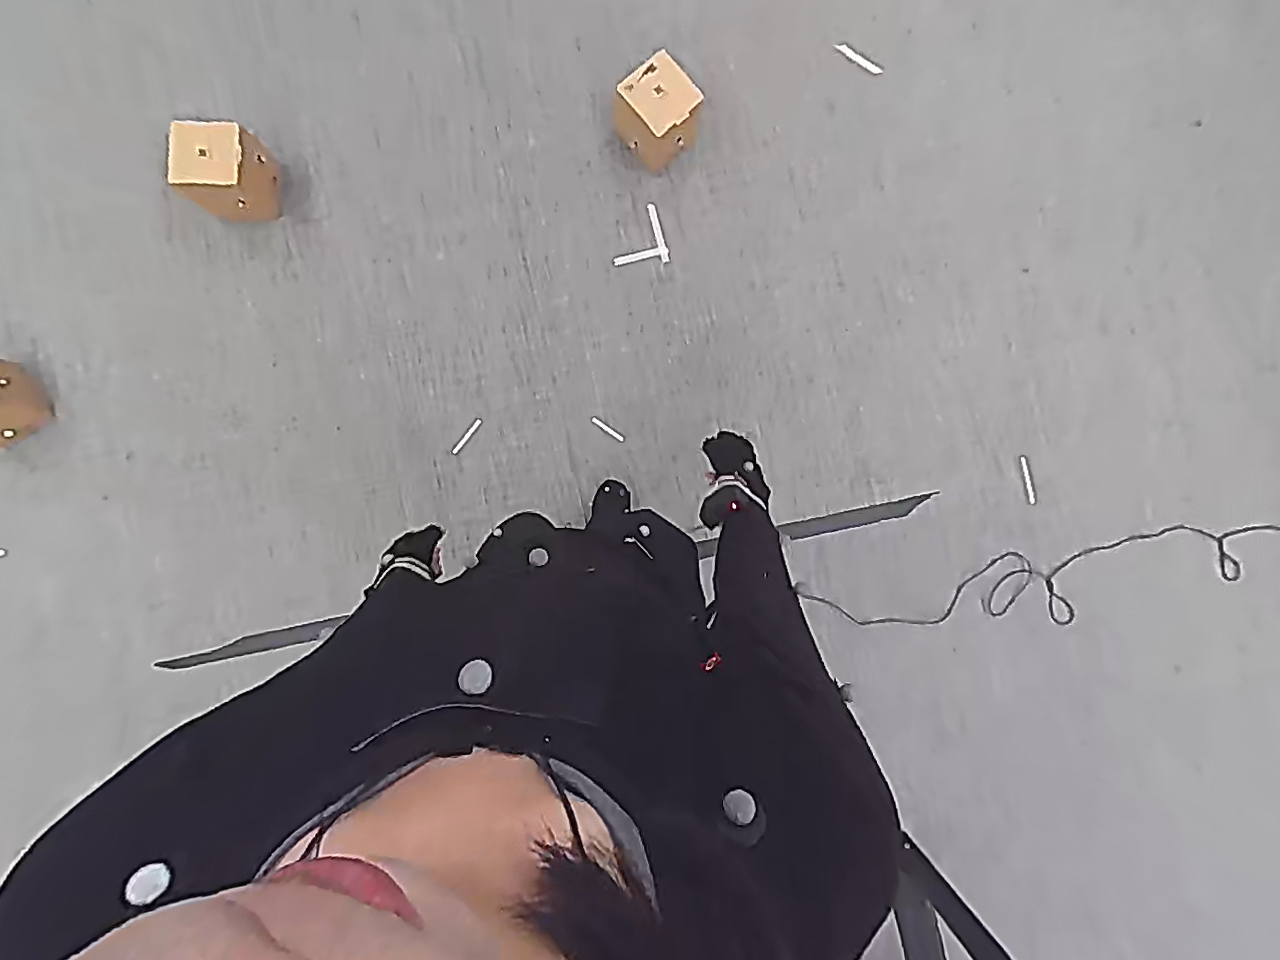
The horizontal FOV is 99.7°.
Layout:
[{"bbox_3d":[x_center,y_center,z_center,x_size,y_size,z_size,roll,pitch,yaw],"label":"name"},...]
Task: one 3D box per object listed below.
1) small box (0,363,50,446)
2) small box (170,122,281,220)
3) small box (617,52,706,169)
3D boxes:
[{"bbox_3d":[-1.715,-0.204,1.392,0.168,0.176,0.179,-35,90,-2],"label":"small box"},{"bbox_3d":[-1.093,-0.815,1.439,0.179,0.176,0.168,0,87,-1],"label":"small box"},{"bbox_3d":[0.054,-0.993,1.478,0.168,0.176,0.179,-40,91,-2],"label":"small box"}]
